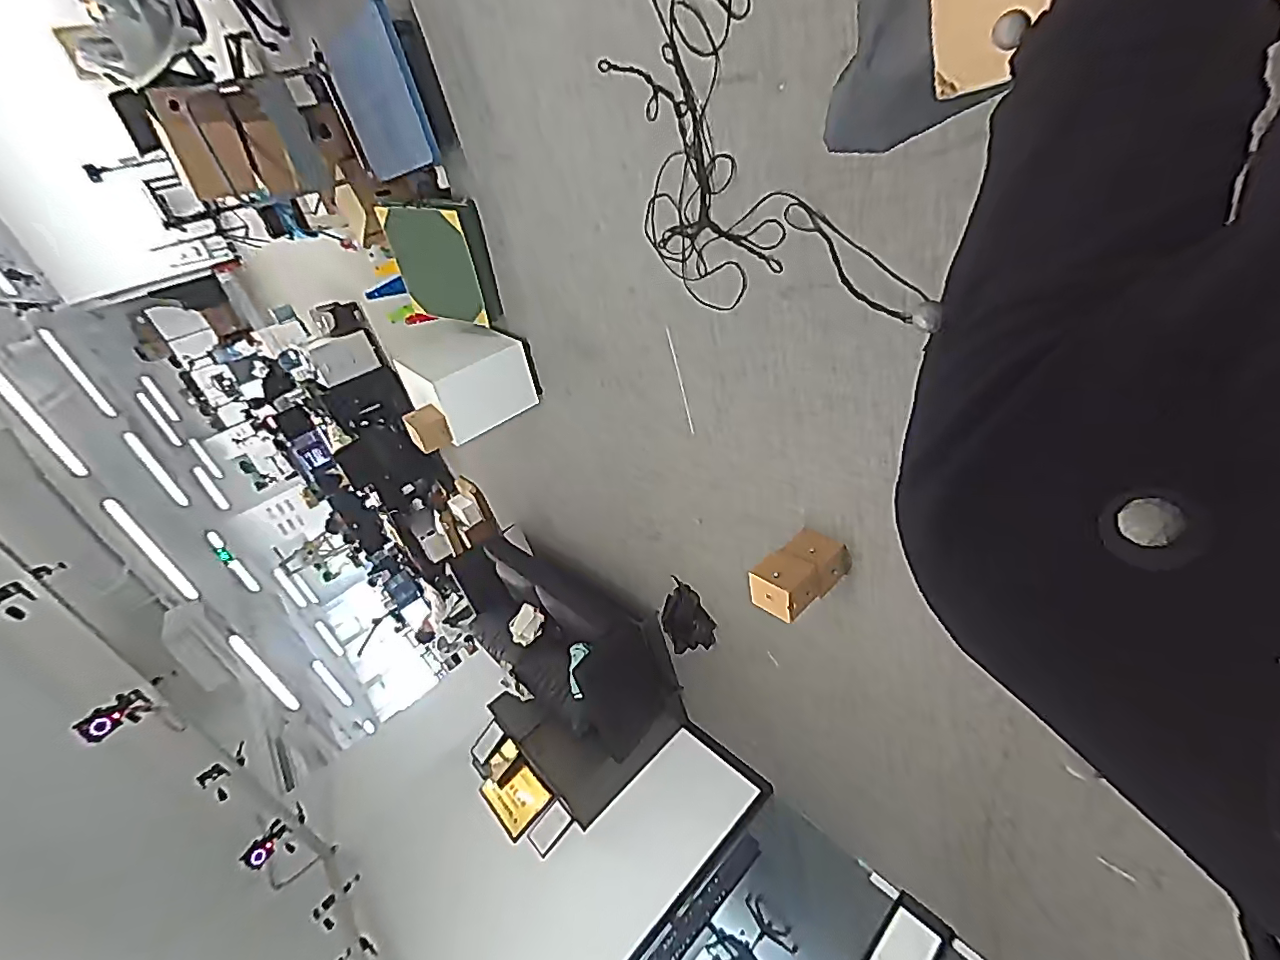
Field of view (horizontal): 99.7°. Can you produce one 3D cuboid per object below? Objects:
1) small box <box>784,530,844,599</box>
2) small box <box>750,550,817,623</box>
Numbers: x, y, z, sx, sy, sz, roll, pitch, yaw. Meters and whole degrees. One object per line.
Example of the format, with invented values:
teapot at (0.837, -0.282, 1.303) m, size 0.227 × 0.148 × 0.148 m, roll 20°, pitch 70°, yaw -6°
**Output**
small box at (0.661, 0.315, 2.066) m, size 0.179 × 0.176 × 0.168 m, roll 23°, pitch 138°, yaw 44°
small box at (0.531, 0.383, 1.991) m, size 0.179 × 0.176 × 0.168 m, roll 24°, pitch 138°, yaw 44°
